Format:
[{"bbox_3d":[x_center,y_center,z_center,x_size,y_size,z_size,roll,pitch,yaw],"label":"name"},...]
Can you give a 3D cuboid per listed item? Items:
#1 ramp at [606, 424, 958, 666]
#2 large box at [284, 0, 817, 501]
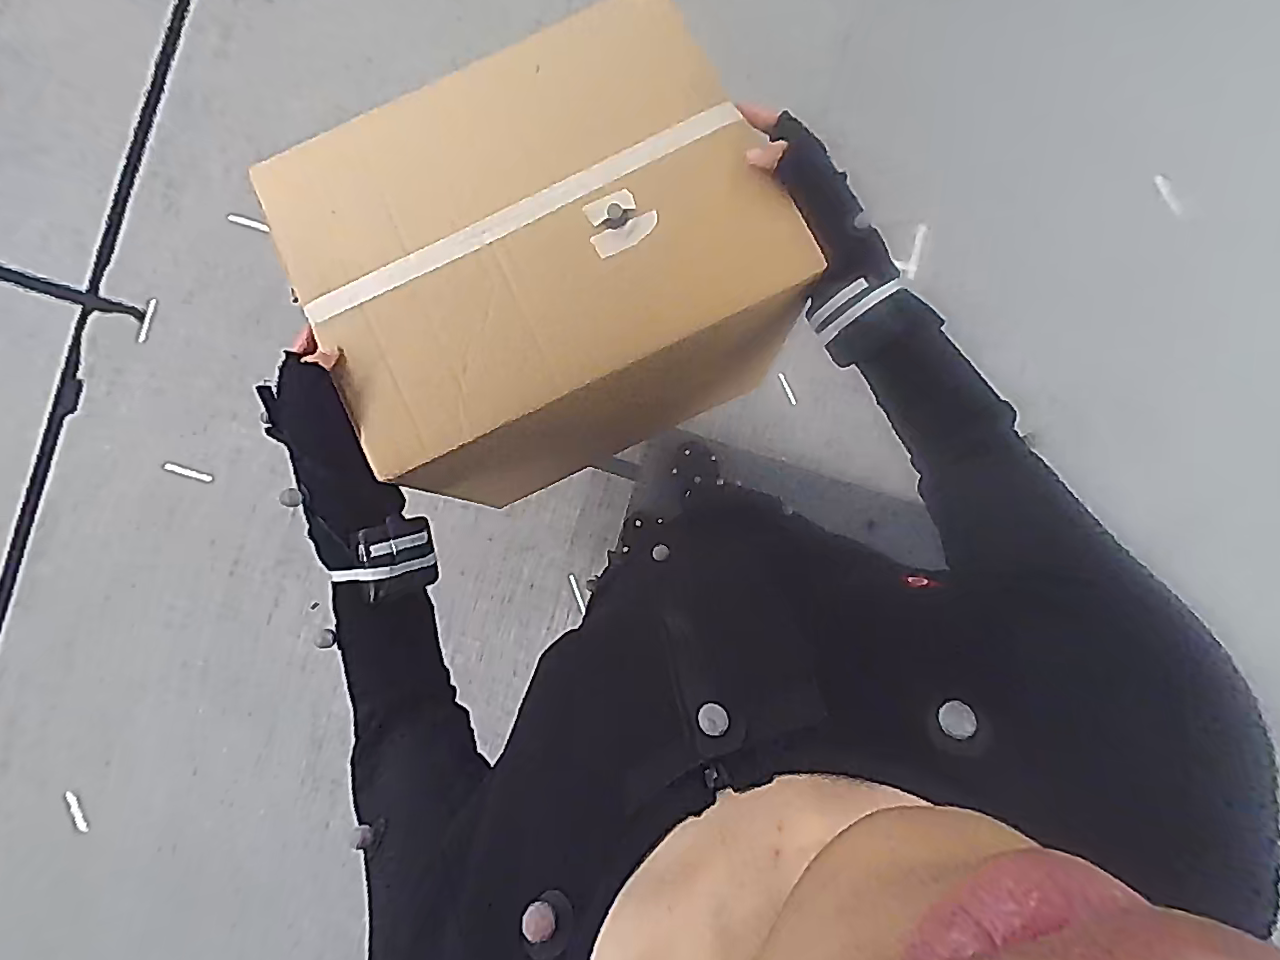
[{"bbox_3d":[0.439,0.197,1.569,0.991,0.206,0.509,14,88,1],"label":"ramp"},{"bbox_3d":[-0.082,-0.209,0.624,0.408,0.320,0.320,-25,82,-1],"label":"large box"}]
